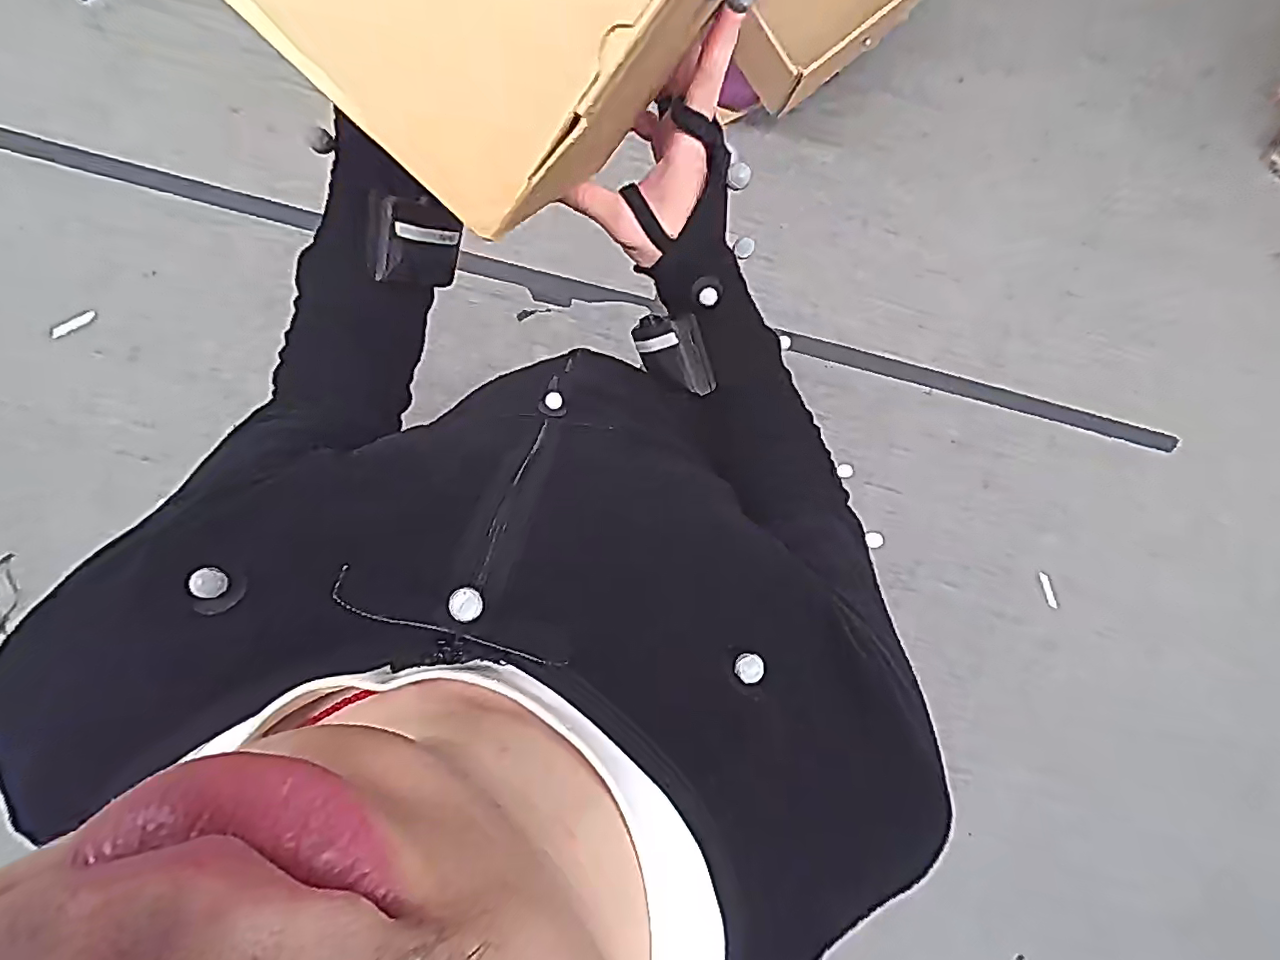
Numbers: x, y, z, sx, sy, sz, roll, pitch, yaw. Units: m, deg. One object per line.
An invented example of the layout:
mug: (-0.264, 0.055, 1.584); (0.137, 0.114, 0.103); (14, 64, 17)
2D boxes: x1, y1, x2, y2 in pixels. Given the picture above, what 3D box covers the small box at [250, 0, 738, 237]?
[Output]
small box: (-0.049, -0.241, 0.219); (0.179, 0.176, 0.168); (42, 123, -18)
